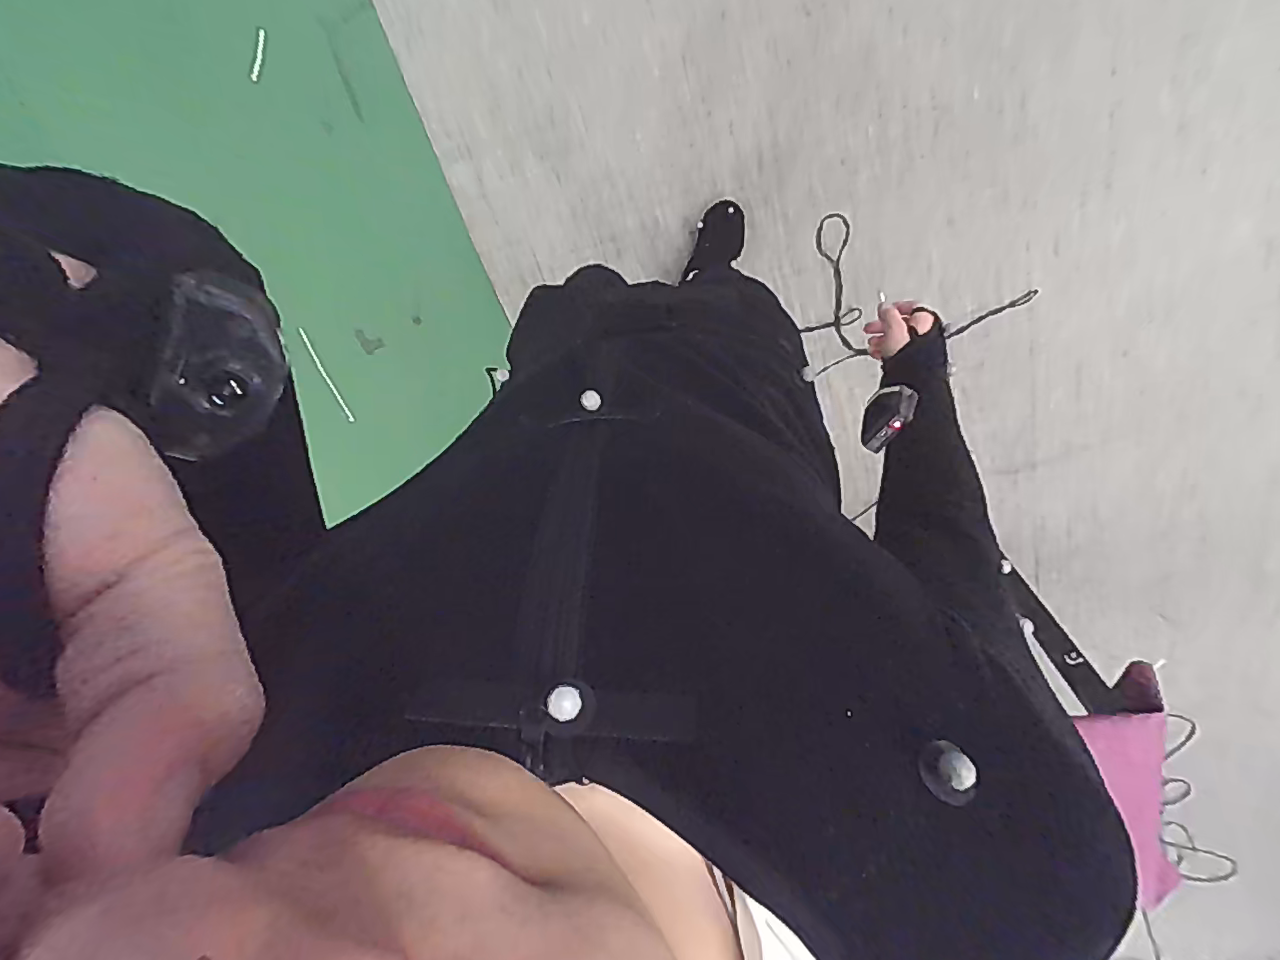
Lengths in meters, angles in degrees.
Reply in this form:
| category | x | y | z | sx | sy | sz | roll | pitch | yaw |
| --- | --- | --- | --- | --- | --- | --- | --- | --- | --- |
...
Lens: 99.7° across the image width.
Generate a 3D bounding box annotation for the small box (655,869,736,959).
| category | x | y | z | sx | sy | sz | roll | pitch | yaw |
| --- | --- | --- | --- | --- | --- | --- | --- | --- | --- |
| small box | 0.146 | 1.134 | 1.389 | 0.168 | 0.176 | 0.179 | -13 | 112 | 14 |
